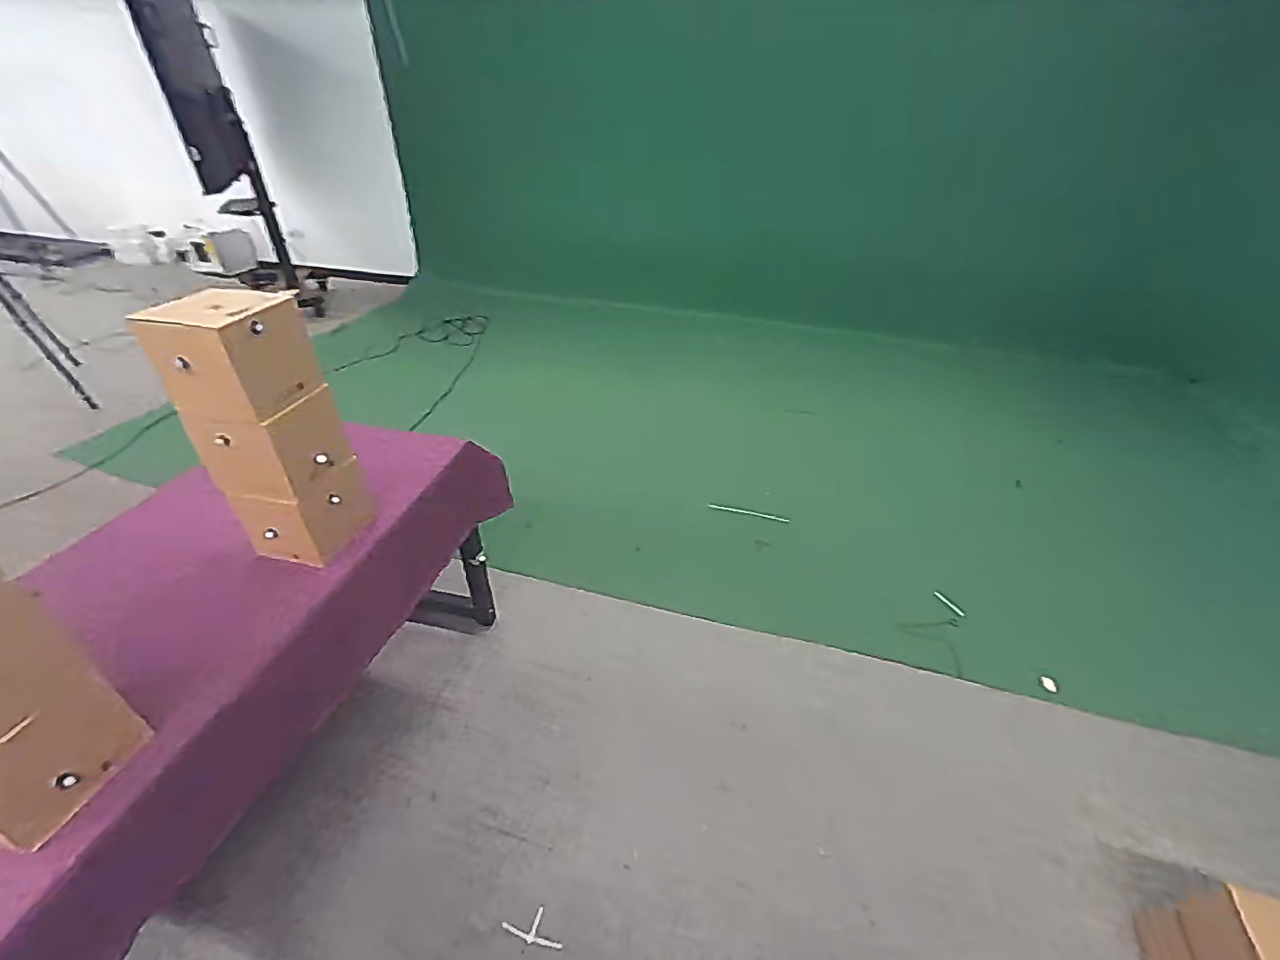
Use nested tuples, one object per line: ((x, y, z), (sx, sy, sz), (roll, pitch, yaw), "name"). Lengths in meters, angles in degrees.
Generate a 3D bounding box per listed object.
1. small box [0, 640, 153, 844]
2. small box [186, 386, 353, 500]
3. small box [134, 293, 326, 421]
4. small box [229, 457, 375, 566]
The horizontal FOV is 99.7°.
((-0.828, 0.347, 0.722), (0.179, 0.176, 0.168), (10, 36, 11), "small box")
((-0.697, -0.079, 1.038), (0.179, 0.176, 0.168), (8, 37, 9), "small box")
((-0.701, -0.217, 0.947), (0.179, 0.176, 0.168), (8, 37, 11), "small box")
((-0.691, 0.056, 1.133), (0.168, 0.176, 0.179), (10, 36, 12), "small box")
